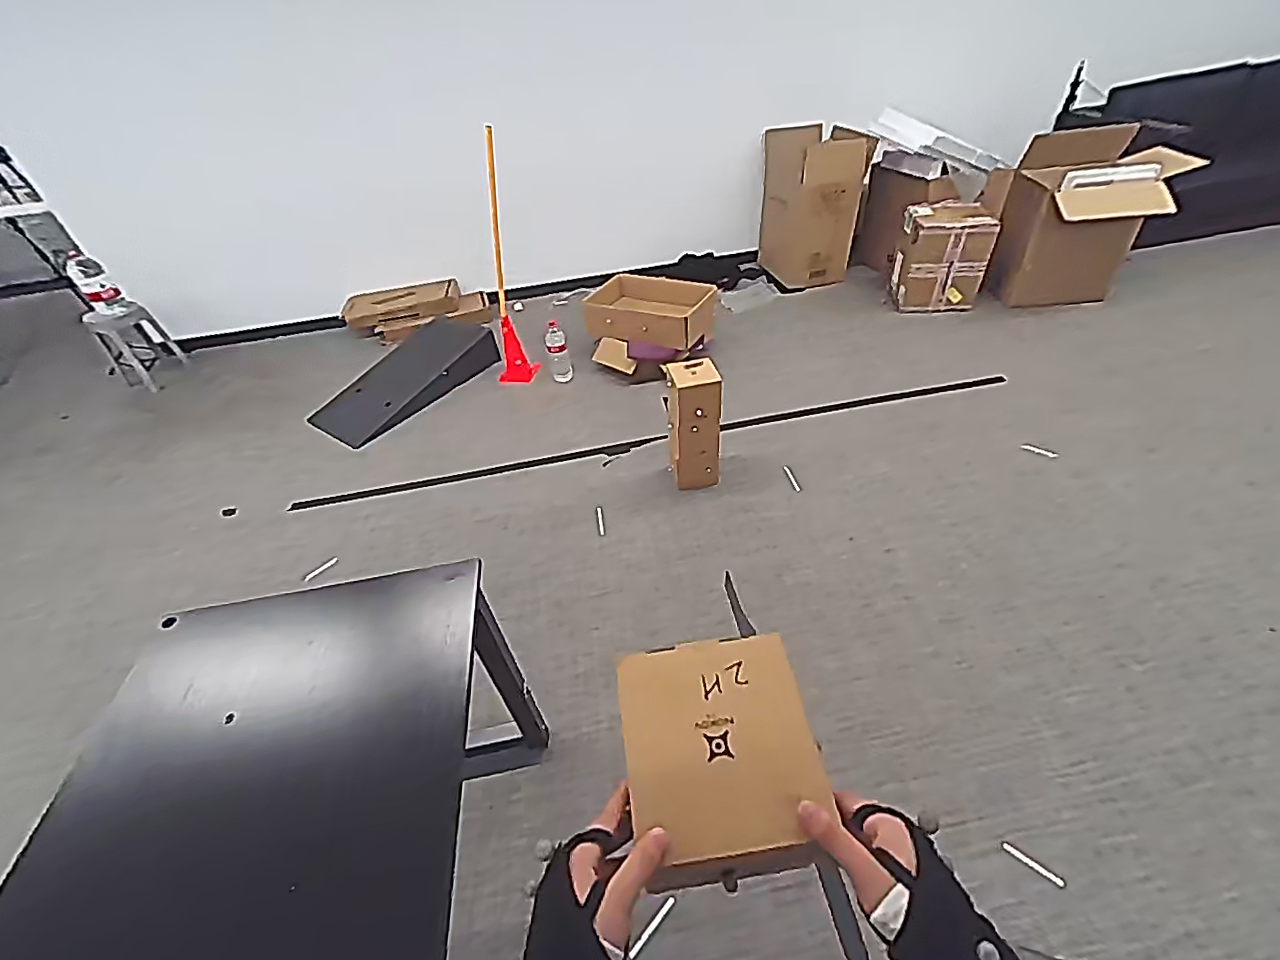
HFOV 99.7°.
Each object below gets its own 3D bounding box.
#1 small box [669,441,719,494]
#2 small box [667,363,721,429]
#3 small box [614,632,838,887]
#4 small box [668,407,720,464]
[{"bbox_3d":[0.225,-0.066,2.242,0.179,0.176,0.168,-11,40,-3],"label":"small box"},{"bbox_3d":[0.201,-0.314,2.028,0.168,0.176,0.179,-11,41,-5],"label":"small box"},{"bbox_3d":[0.071,0.278,0.532,0.168,0.176,0.179,-9,47,-3],"label":"small box"},{"bbox_3d":[0.211,-0.188,2.134,0.168,0.176,0.179,-11,40,-5],"label":"small box"}]
